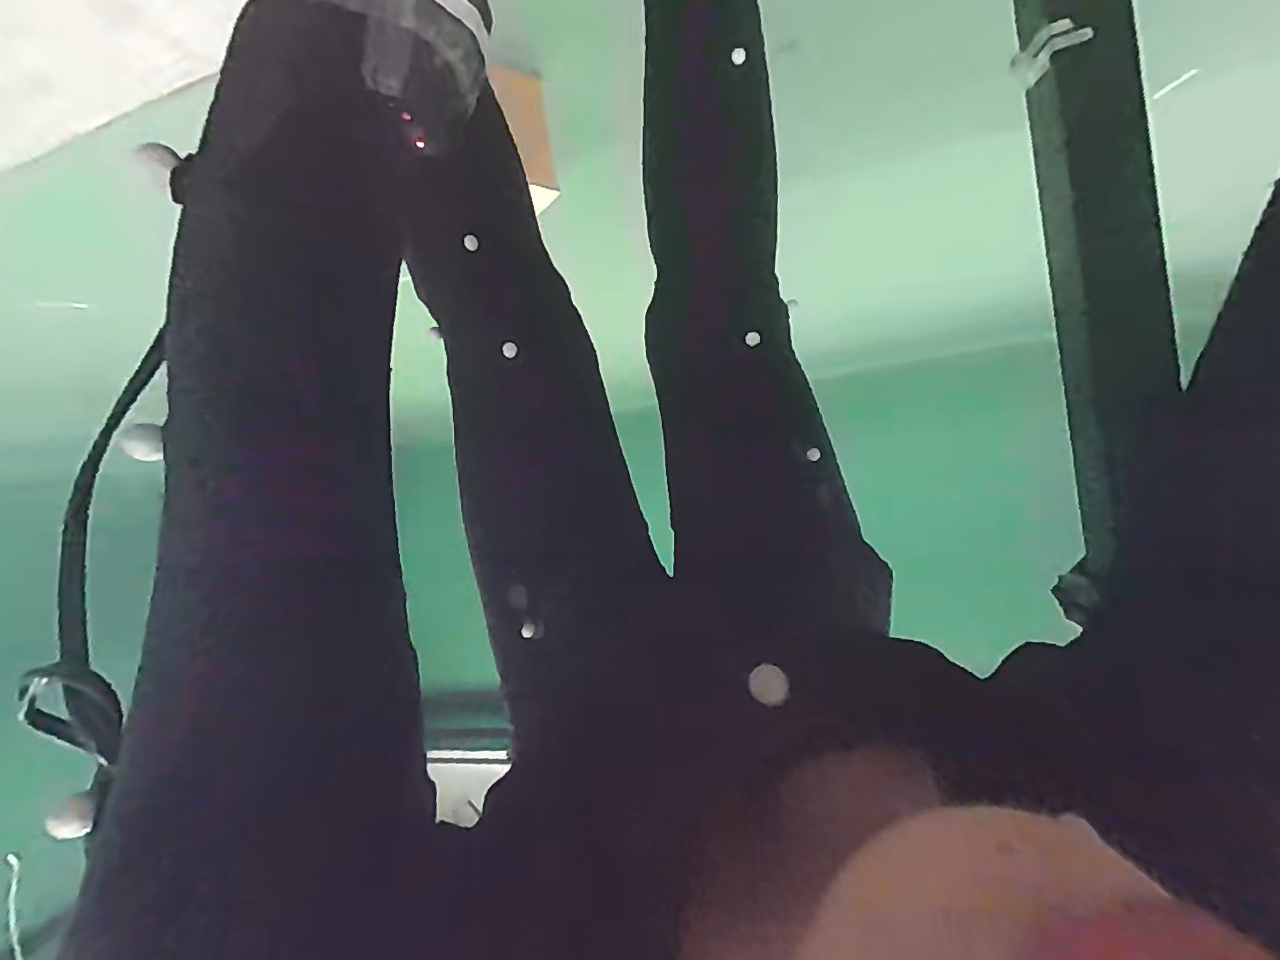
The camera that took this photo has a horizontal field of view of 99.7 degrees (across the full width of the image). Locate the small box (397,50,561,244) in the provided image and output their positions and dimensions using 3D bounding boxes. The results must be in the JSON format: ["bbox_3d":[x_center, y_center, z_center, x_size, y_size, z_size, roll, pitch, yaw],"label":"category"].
[{"bbox_3d":[-0.239,-0.477,0.798,0.179,0.176,0.168,-7,179,-39],"label":"small box"}]
